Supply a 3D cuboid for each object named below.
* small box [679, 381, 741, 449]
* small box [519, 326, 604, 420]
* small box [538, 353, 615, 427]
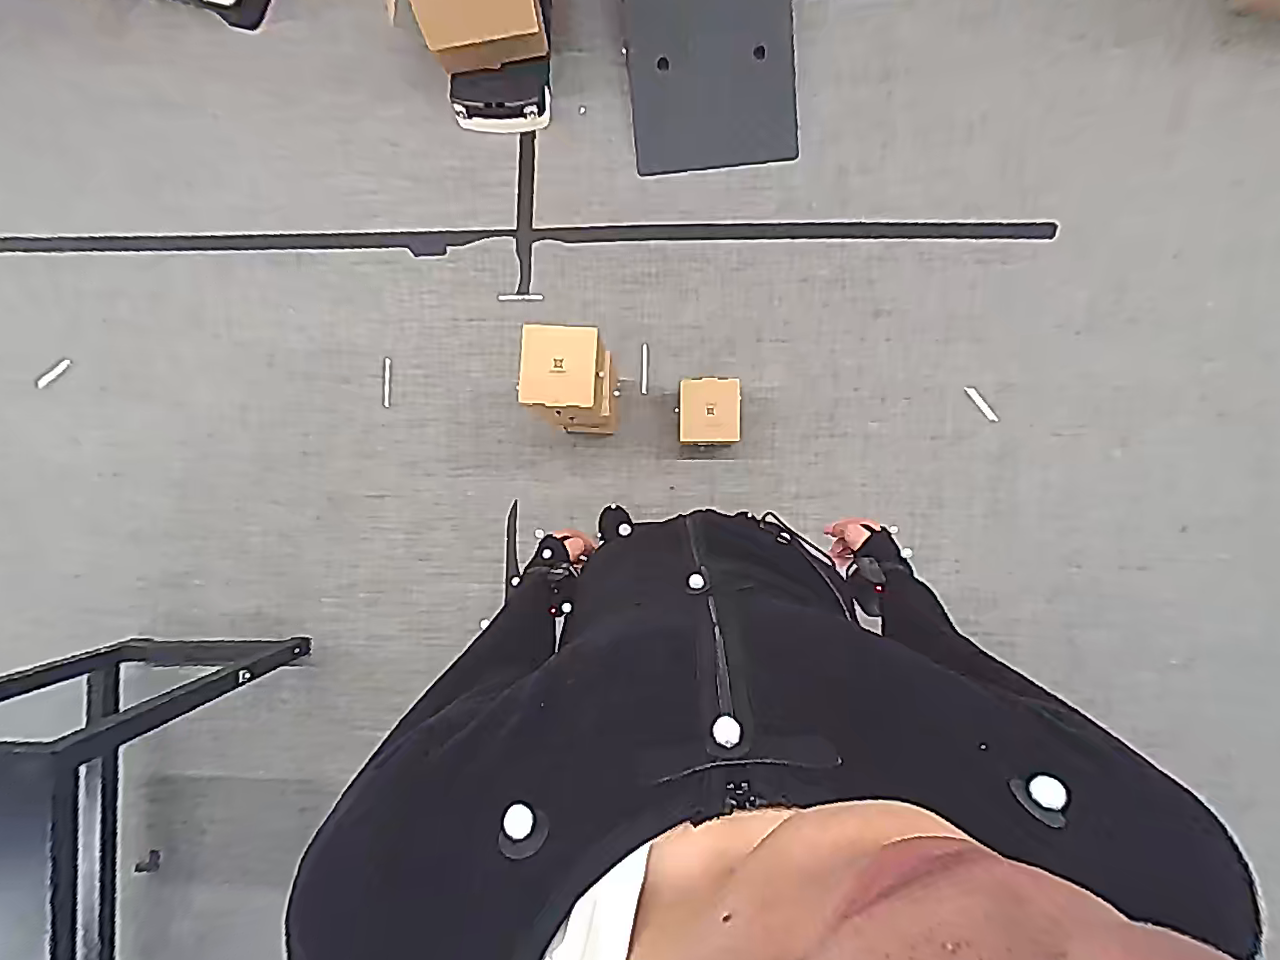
[{"bbox_3d":[0.197,-0.183,1.558,0.168,0.176,0.179,-1,90,3],"label":"small box"},{"bbox_3d":[-0.173,-0.240,1.241,0.168,0.176,0.179,3,90,1],"label":"small box"},{"bbox_3d":[-0.159,-0.230,1.403,0.179,0.176,0.168,1,89,1],"label":"small box"}]
